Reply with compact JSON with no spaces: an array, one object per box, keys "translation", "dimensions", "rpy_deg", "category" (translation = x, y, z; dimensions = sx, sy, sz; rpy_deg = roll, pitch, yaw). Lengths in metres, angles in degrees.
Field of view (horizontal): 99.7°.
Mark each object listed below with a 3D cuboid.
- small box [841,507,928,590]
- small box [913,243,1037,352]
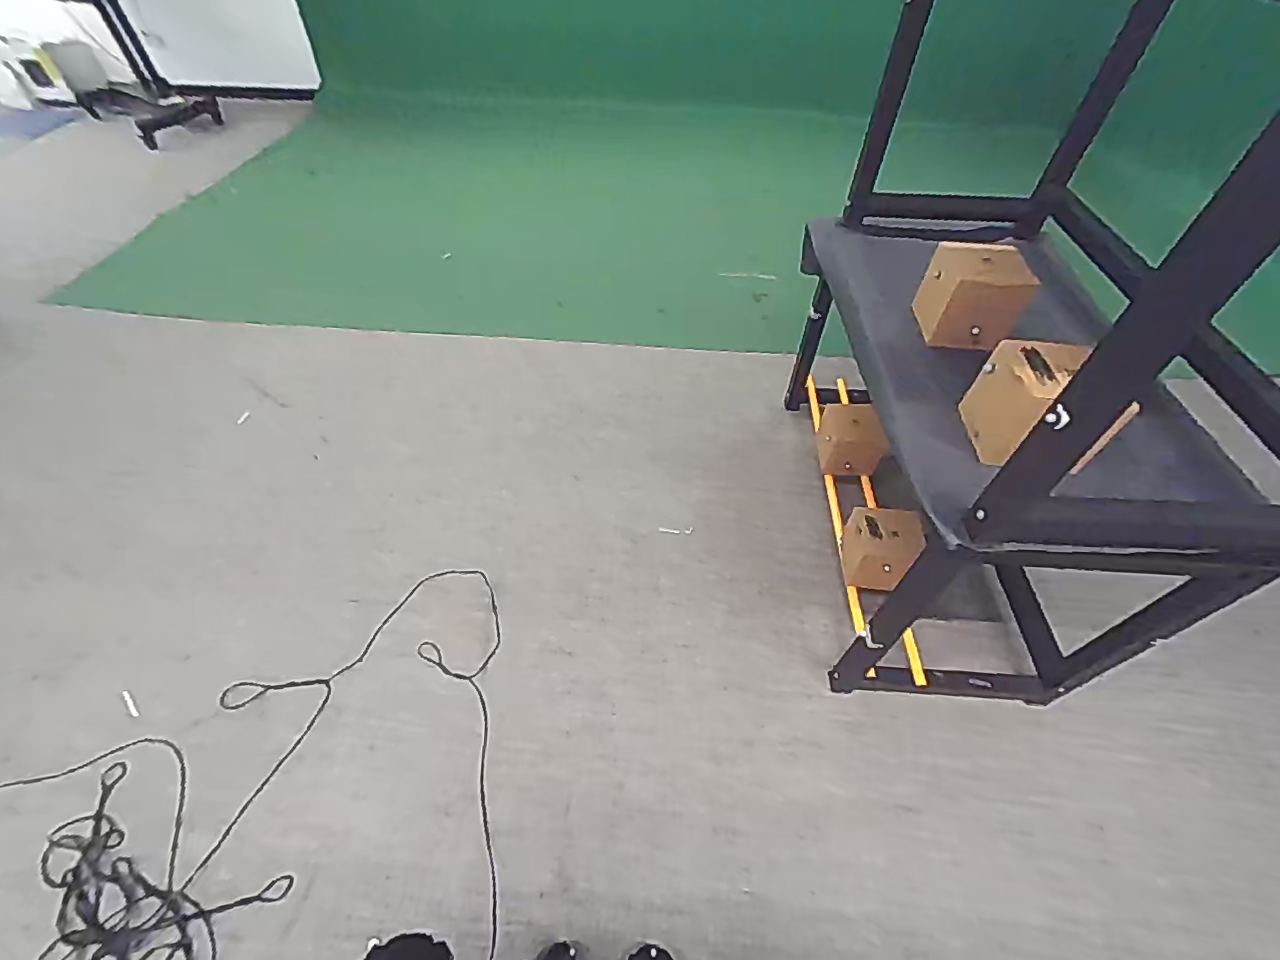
[{"translation":[0.683,0.198,1.536],"dimensions":[0.179,0.176,0.168],"rpy_deg":[6,50,4],"category":"small box"},{"translation":[0.756,-0.420,1.246],"dimensions":[0.168,0.176,0.179],"rpy_deg":[6,50,4],"category":"small box"}]
